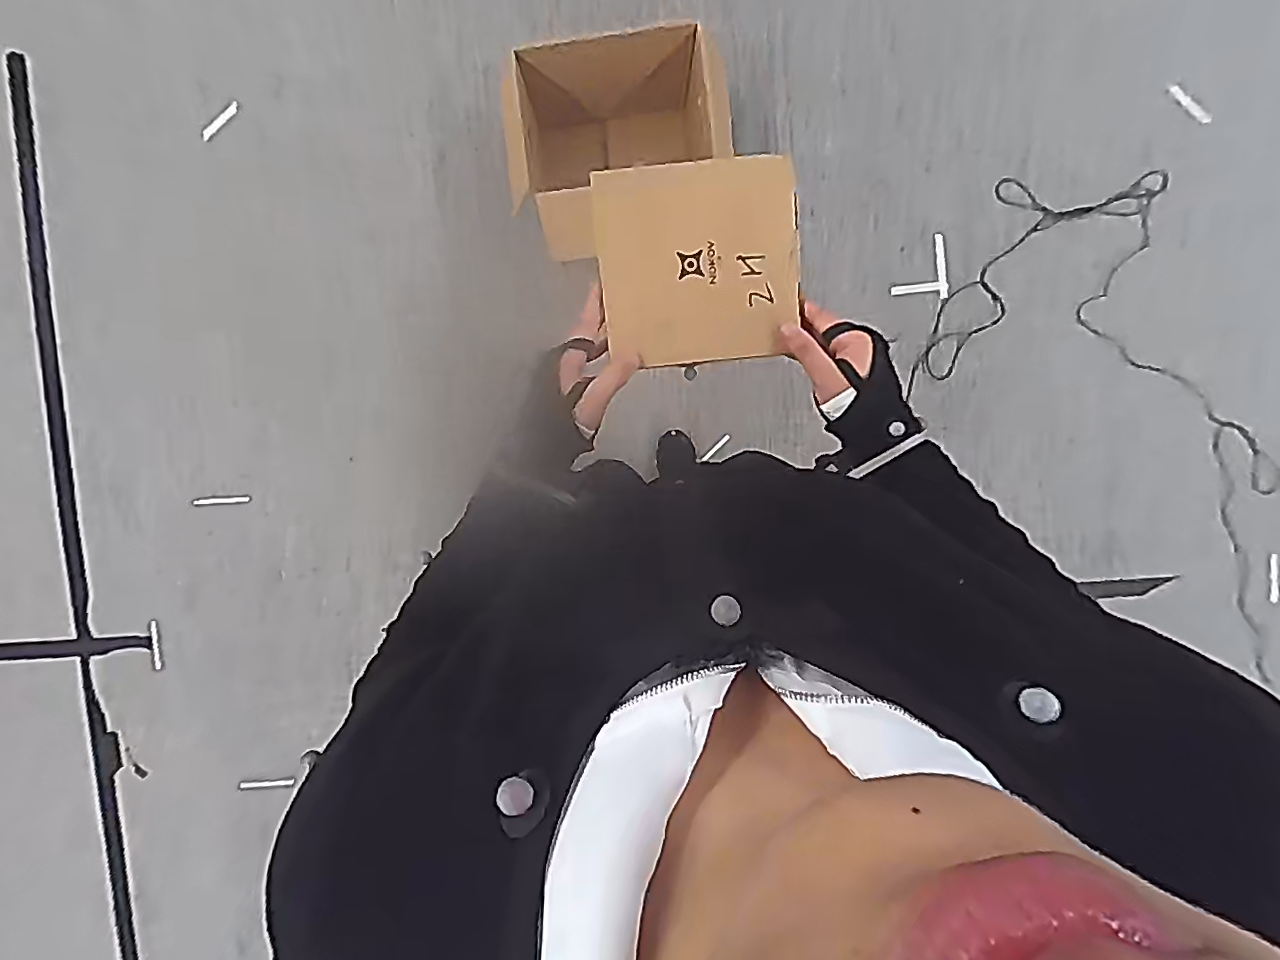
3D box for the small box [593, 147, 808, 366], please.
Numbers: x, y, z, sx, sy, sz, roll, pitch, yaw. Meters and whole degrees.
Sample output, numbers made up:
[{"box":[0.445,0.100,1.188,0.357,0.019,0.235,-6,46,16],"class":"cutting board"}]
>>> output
[{"box":[0.053,-0.203,0.538,0.179,0.176,0.168,-6,102,-1],"class":"small box"}]
